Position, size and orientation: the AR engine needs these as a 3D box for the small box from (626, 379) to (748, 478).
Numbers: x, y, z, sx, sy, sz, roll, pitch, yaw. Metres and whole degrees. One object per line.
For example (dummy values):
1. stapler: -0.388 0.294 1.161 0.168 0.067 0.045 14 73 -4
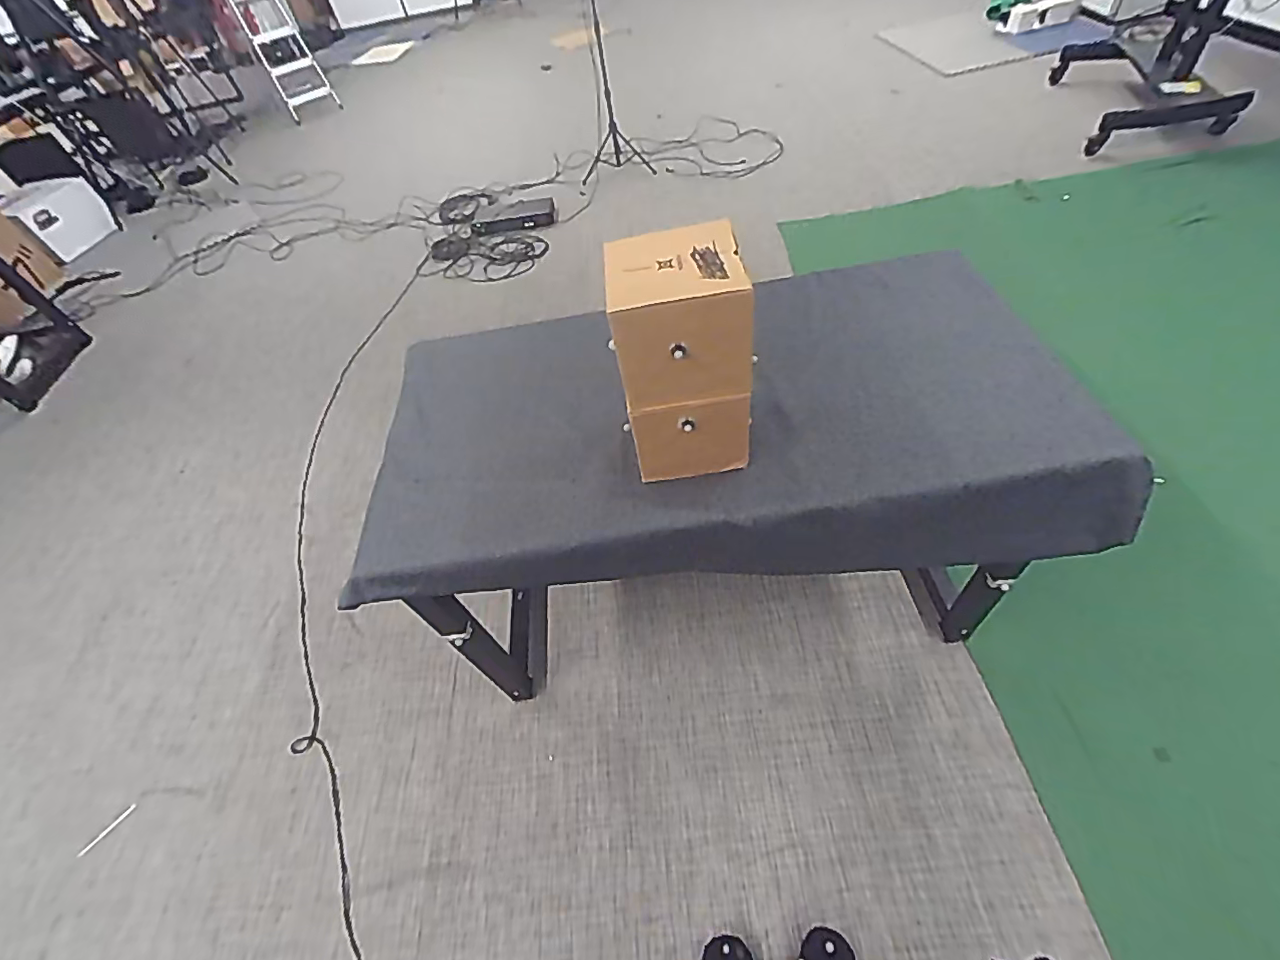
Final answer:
1. small box: 0.073 -0.119 0.875 0.179 0.176 0.168 -8 52 2

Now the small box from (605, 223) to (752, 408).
1. small box: 0.053 -0.221 0.747 0.179 0.176 0.168 -8 52 5
